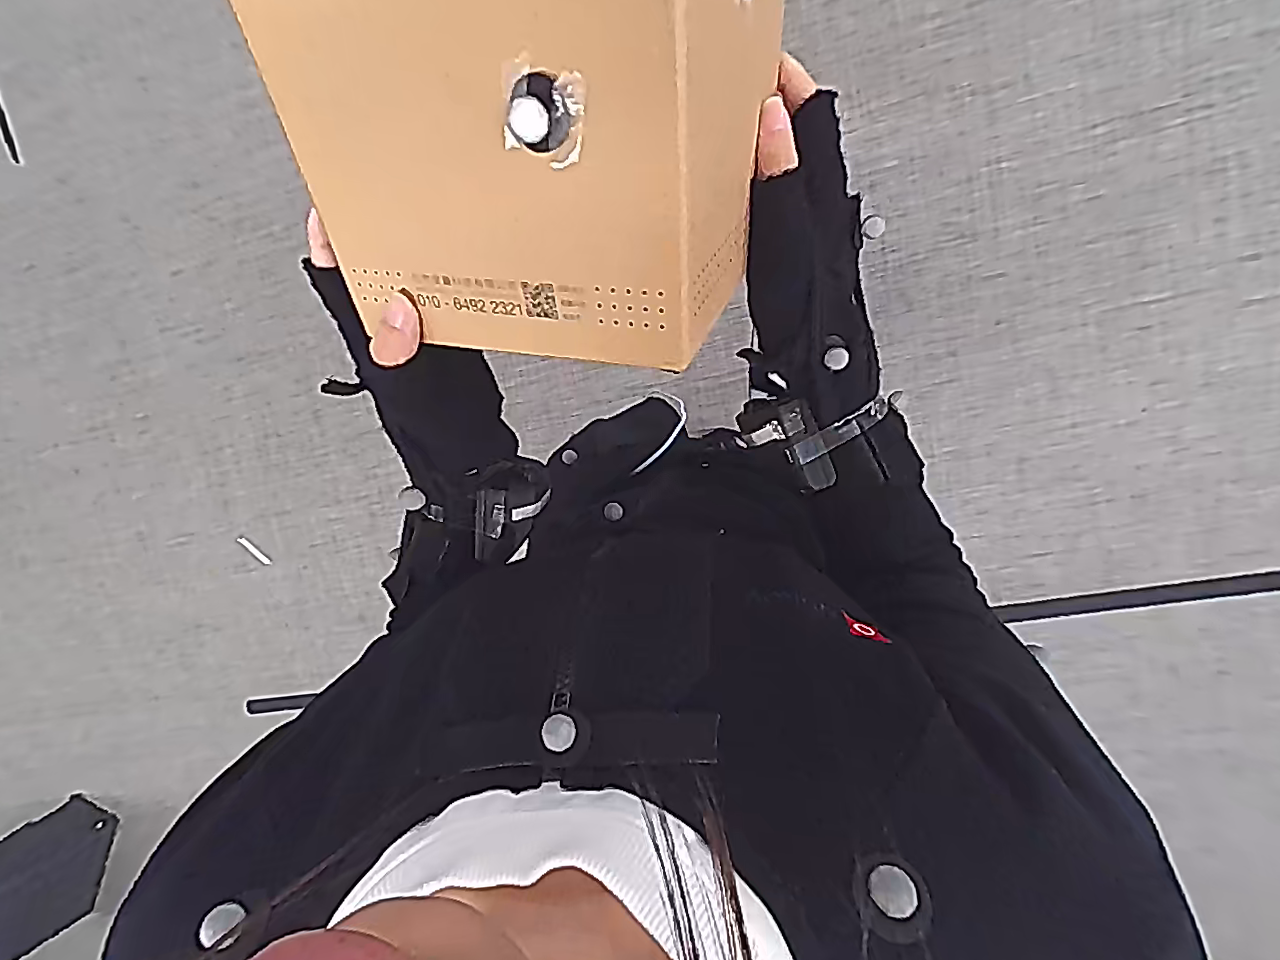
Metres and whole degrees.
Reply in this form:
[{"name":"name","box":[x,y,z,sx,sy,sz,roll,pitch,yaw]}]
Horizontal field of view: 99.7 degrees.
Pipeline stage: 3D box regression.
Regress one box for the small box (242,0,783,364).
[{"name":"small box","box":[-0.031,-0.171,0.254,0.168,0.179,0.176,12,133,19]}]
